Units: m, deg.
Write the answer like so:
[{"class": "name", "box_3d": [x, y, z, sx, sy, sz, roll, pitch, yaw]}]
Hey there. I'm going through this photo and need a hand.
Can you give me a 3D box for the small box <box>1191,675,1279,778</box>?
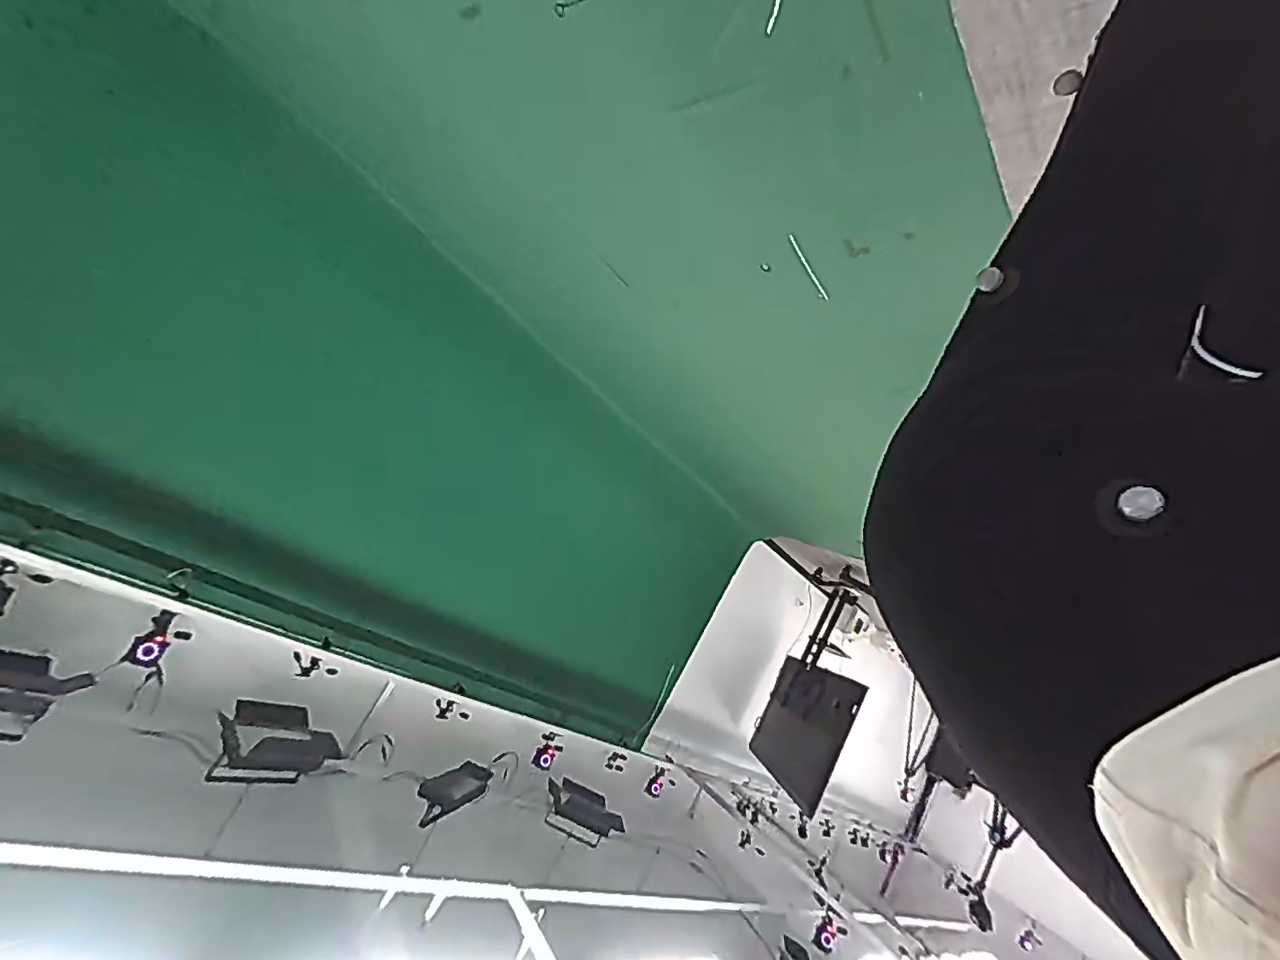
[{"class": "small box", "box_3d": [1.579, 0.639, 1.412, 0.168, 0.176, 0.179, 16, 162, 50]}]
